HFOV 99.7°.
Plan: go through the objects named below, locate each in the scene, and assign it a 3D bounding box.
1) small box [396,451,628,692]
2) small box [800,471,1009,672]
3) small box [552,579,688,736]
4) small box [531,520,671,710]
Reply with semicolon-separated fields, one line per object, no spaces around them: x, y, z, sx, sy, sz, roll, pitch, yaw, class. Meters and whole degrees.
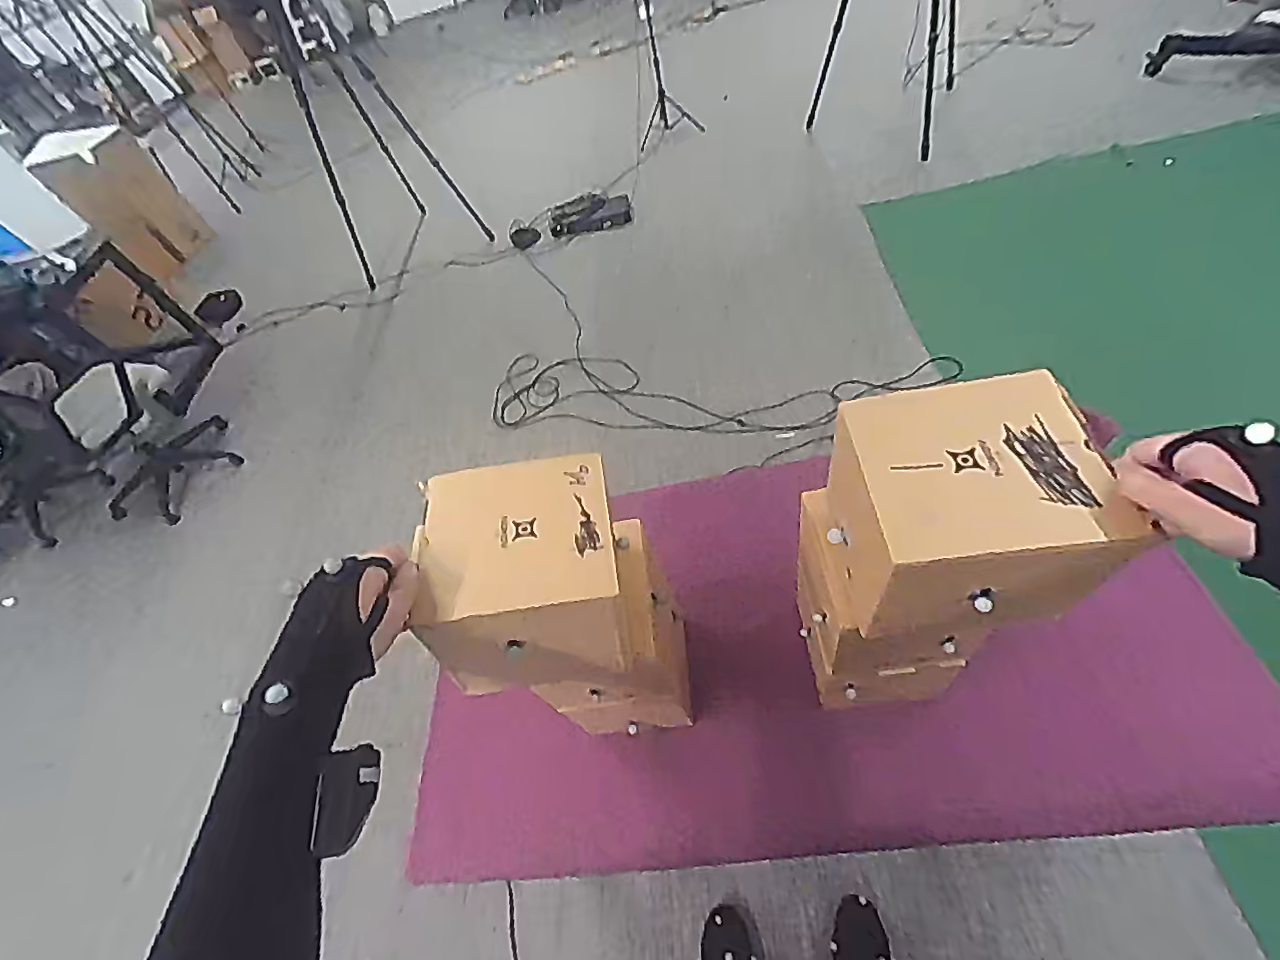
-0.112;0.096;0.541;0.179;0.176;0.168;-8;50;-2;small box
0.292;0.118;0.644;0.168;0.176;0.179;-10;52;8;small box
-0.024;0.273;0.823;0.168;0.176;0.179;-10;53;9;small box
-0.058;0.178;0.696;0.168;0.176;0.179;-10;53;7;small box
